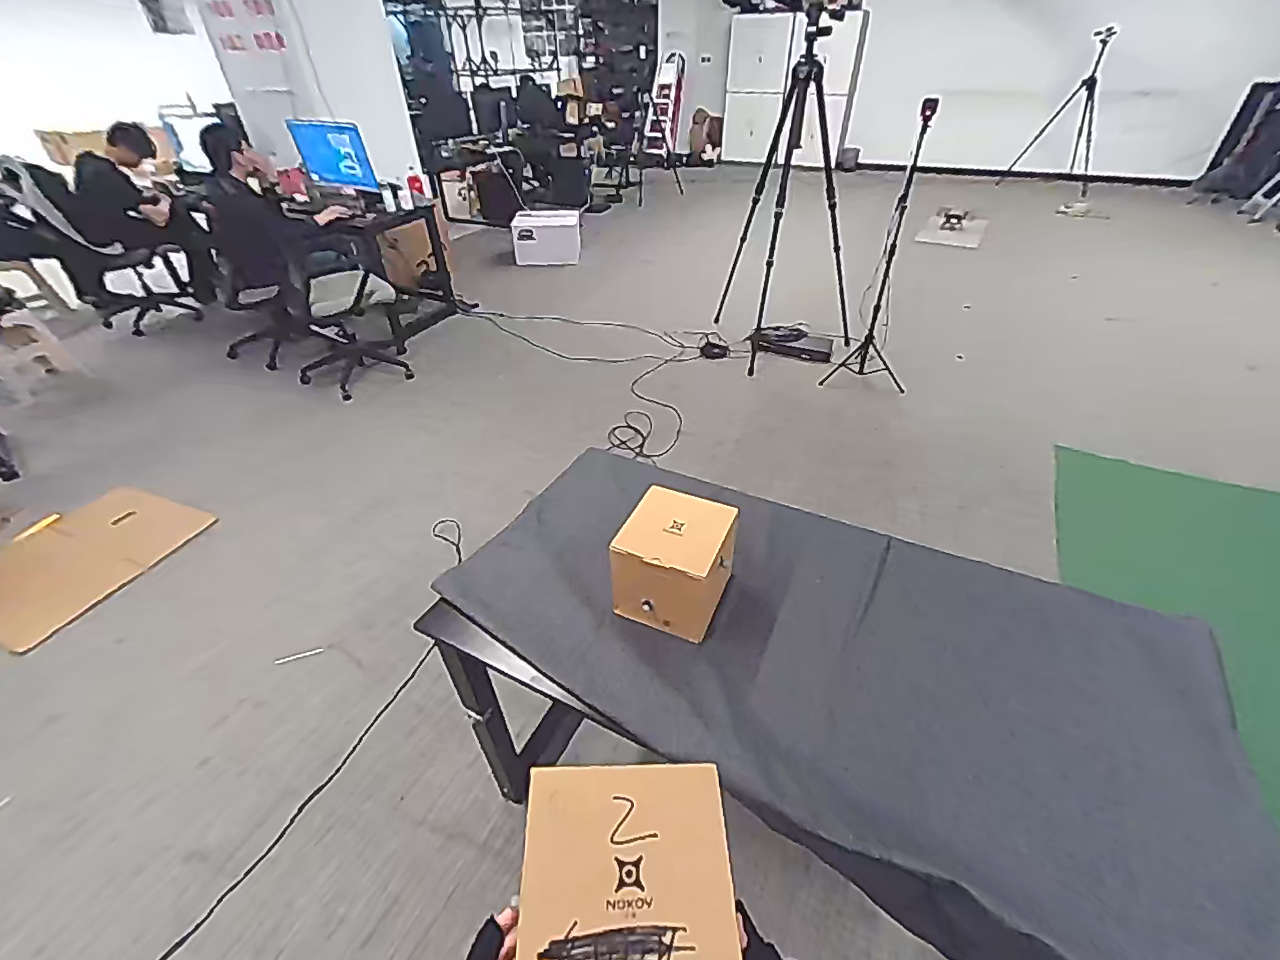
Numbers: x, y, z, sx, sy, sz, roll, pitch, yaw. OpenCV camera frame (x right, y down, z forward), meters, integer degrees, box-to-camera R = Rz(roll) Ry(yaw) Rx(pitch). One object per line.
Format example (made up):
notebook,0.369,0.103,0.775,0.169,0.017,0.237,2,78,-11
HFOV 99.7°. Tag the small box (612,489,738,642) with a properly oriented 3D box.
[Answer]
small box,0.061,0.148,0.958,0.168,0.176,0.179,16,42,19
